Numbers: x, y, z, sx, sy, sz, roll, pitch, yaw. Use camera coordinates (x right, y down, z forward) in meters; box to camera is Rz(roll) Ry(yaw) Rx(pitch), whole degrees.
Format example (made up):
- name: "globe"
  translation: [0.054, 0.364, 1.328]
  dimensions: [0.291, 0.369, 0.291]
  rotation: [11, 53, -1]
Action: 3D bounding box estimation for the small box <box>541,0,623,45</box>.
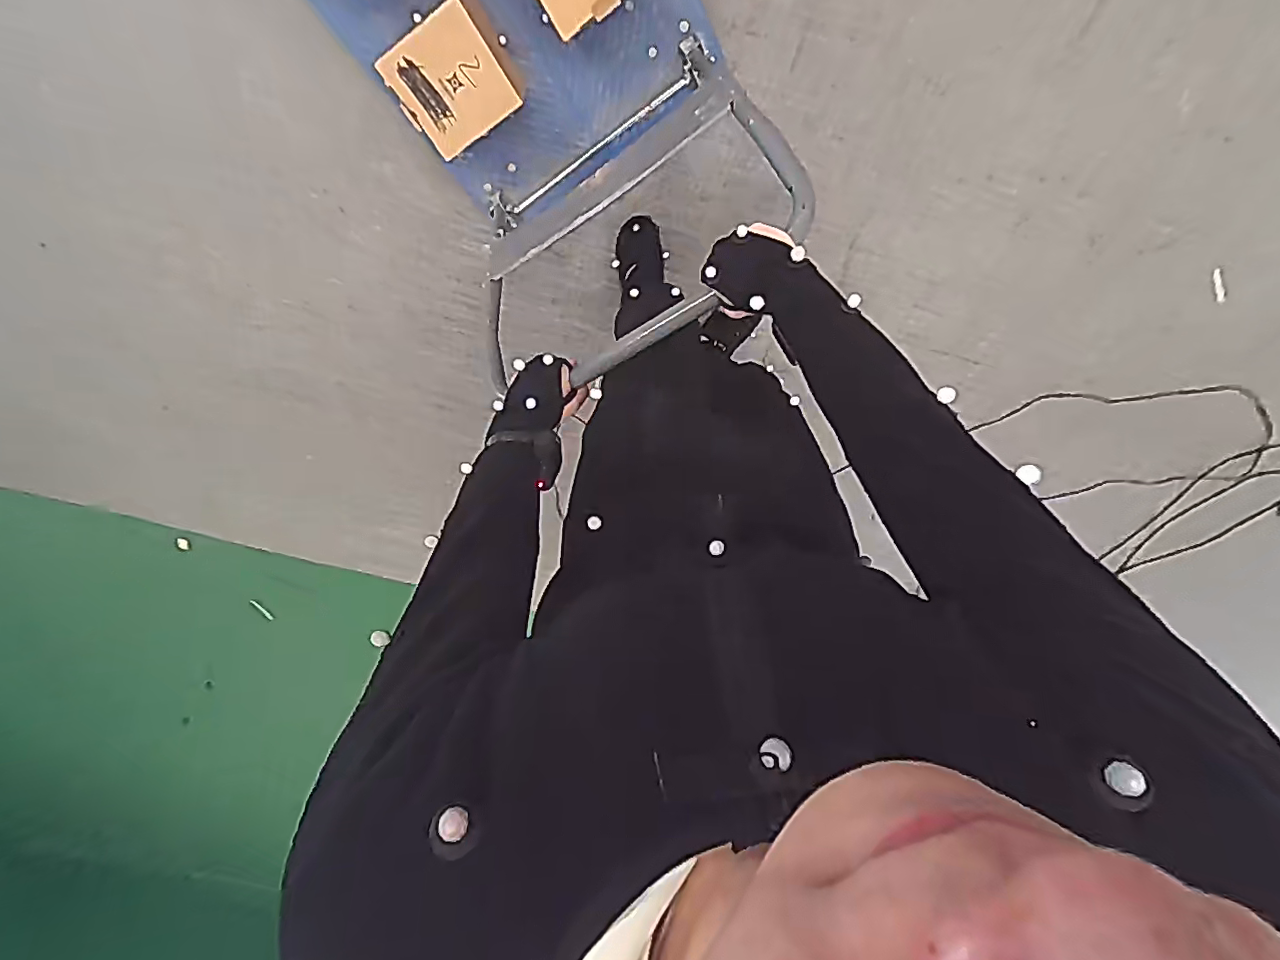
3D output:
- name: "small box"
  translation: [-0.104, -0.843, 0.855]
  dimensions: [0.168, 0.176, 0.179]
  rotation: [-27, 133, 19]
